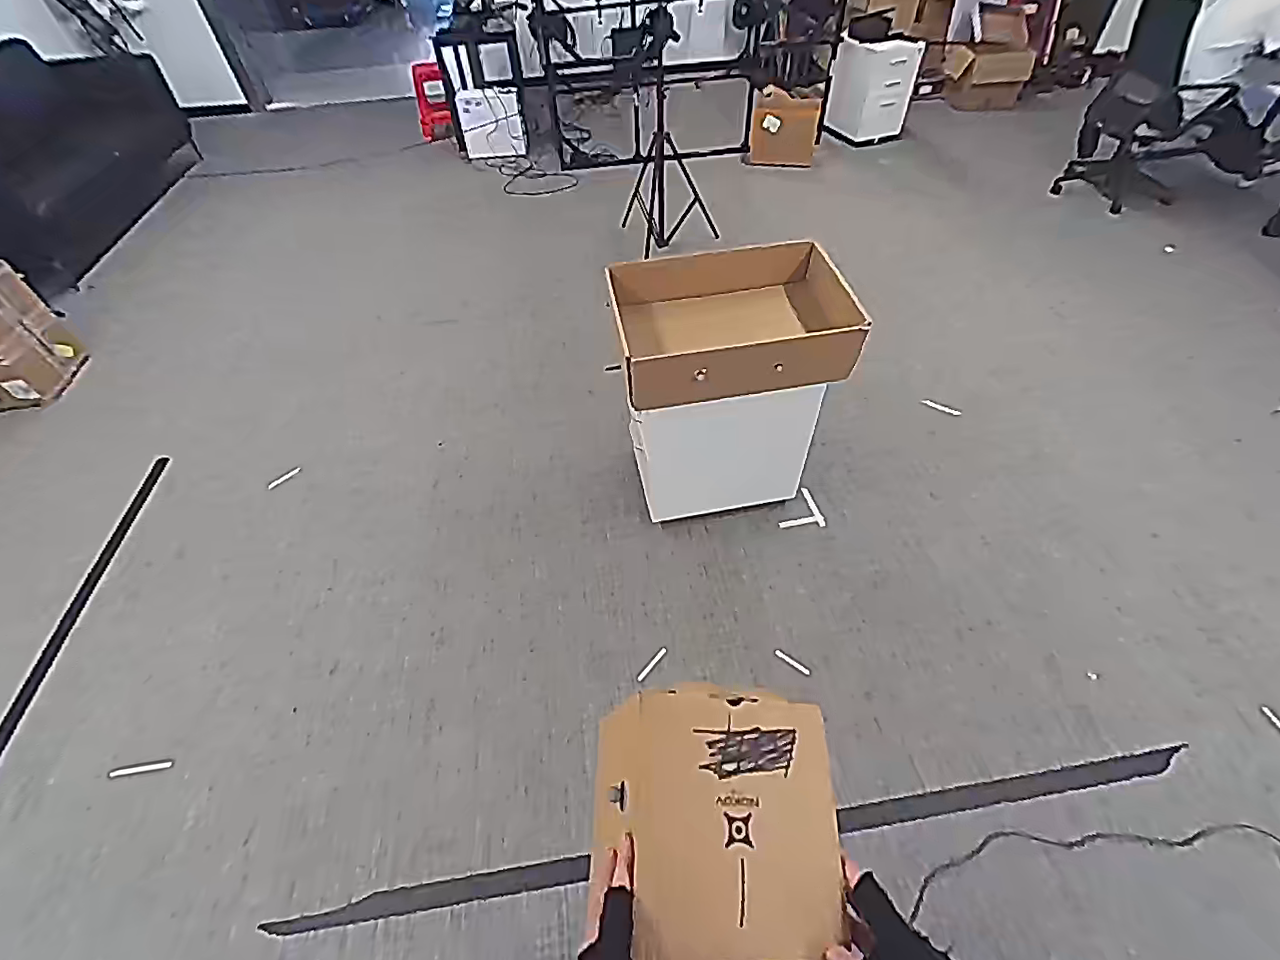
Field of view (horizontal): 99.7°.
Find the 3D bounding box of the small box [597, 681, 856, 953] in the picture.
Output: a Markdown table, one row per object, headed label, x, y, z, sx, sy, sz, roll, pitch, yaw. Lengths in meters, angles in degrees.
| label | x | y | z | sx | sy | sz | roll | pitch | yaw |
| --- | --- | --- | --- | --- | --- | --- | --- | --- | --- |
| small box | 0.059 | 0.295 | 0.483 | 0.168 | 0.176 | 0.179 | 9 | 56 | -11 |
